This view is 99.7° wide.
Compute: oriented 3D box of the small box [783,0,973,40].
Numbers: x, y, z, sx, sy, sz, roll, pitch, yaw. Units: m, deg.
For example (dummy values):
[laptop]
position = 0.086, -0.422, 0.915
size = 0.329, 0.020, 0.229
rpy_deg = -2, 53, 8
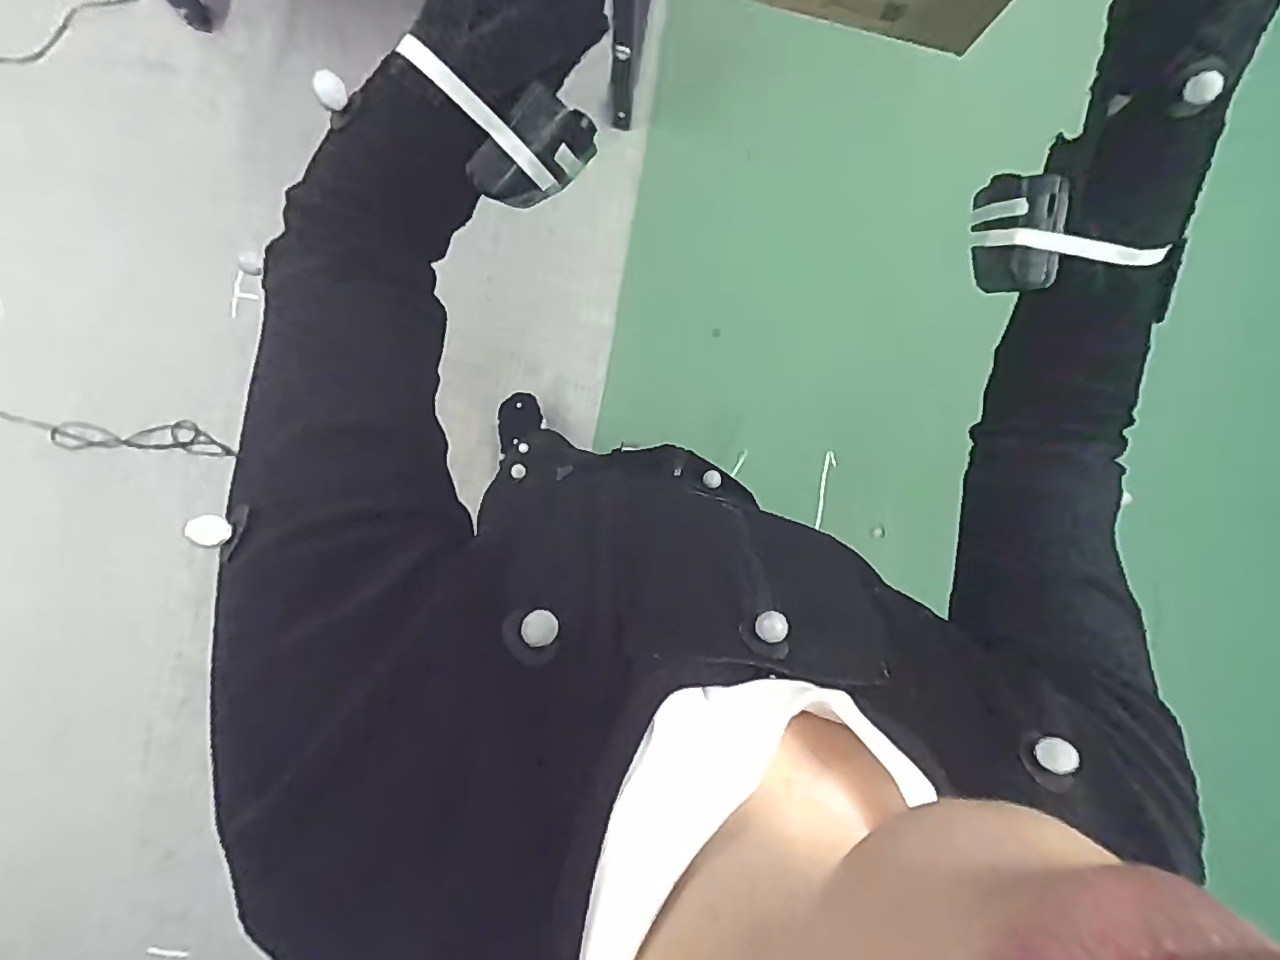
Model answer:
[small box]
position = 0.149, -0.392, 0.278
size = 0.168, 0.176, 0.179
rpy_deg = 11, 93, -4
